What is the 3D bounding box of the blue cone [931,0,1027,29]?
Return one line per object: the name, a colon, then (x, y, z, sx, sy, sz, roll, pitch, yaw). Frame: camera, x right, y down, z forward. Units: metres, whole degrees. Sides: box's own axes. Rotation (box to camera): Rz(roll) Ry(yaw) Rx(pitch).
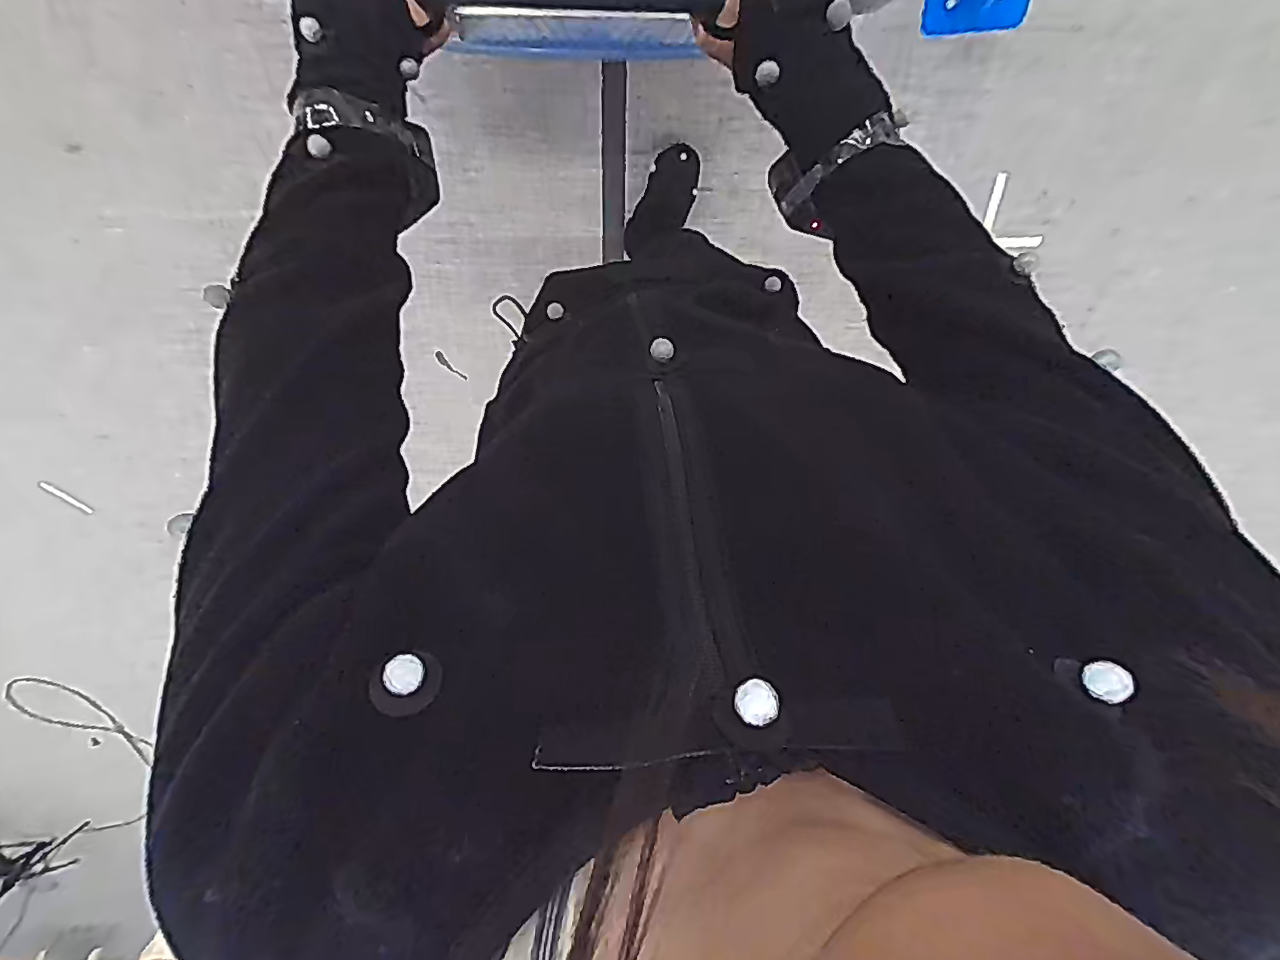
blue cone: (0.644, -0.867, 0.854, 0.193, 0.380, 0.192, -3, 122, 0)
